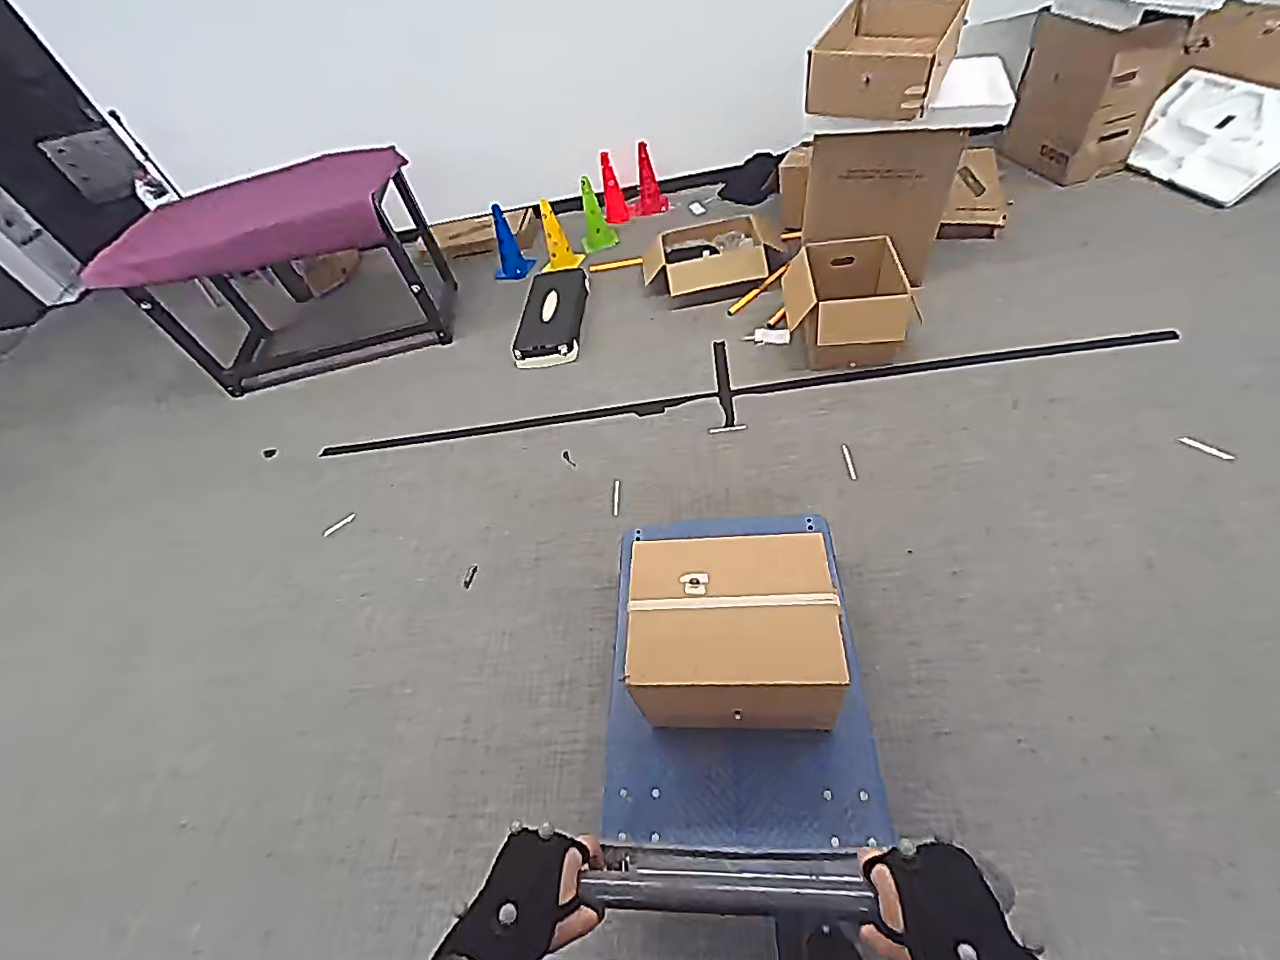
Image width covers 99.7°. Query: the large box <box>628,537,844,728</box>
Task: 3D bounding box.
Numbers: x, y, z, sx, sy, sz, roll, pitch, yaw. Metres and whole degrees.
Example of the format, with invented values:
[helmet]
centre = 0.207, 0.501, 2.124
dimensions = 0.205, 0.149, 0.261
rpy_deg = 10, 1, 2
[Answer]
[large box]
centre = 0.205, 0.351, 1.200
dimensions = 0.408, 0.320, 0.320
rpy_deg = -5, 50, 10
